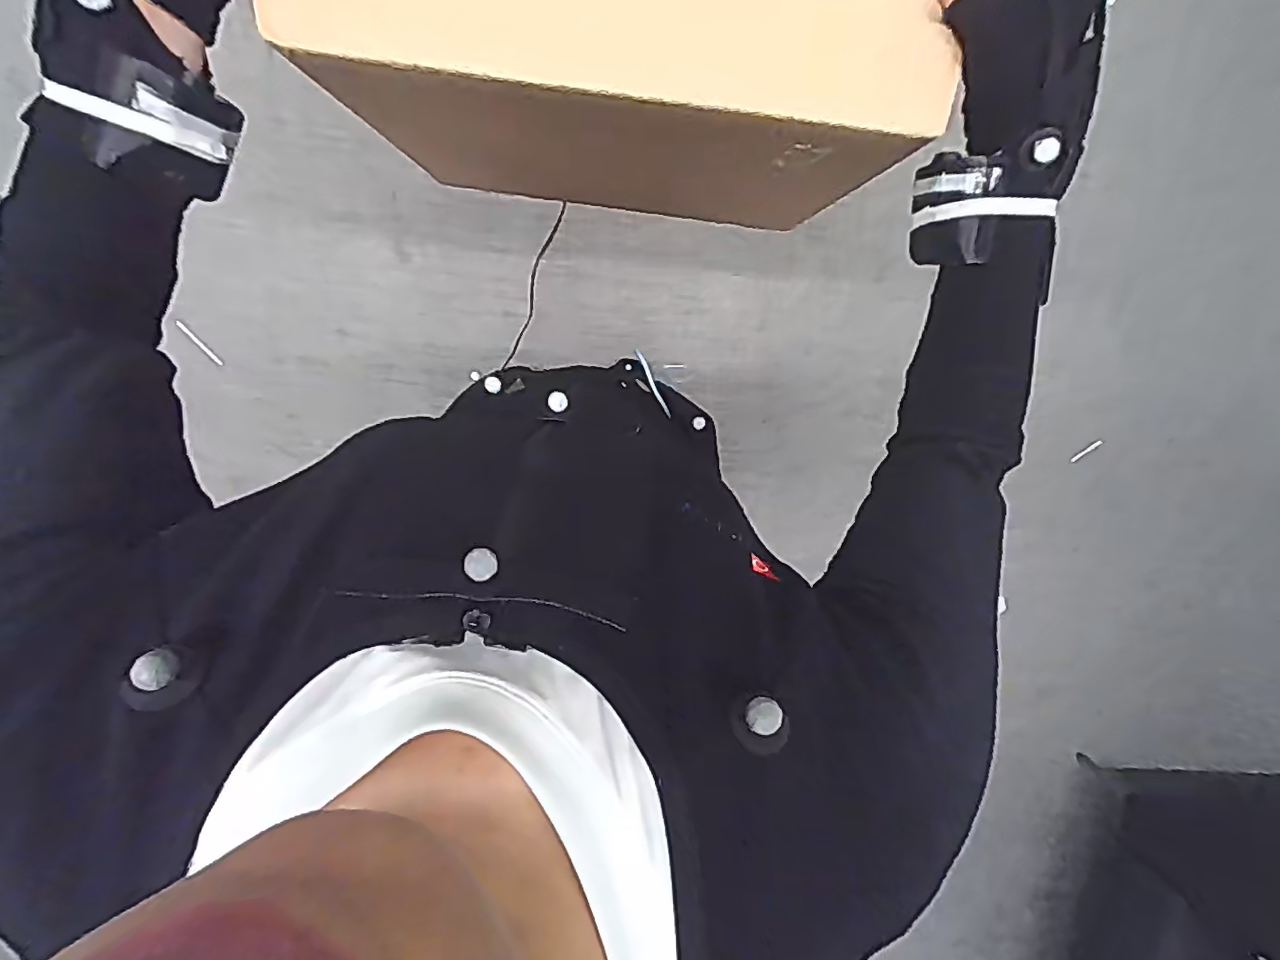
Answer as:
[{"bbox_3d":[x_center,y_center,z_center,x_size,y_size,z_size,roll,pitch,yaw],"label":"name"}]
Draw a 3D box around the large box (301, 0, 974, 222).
[{"bbox_3d":[0.004,-0.422,0.436,0.408,0.320,0.320,5,105,-4],"label":"large box"}]
